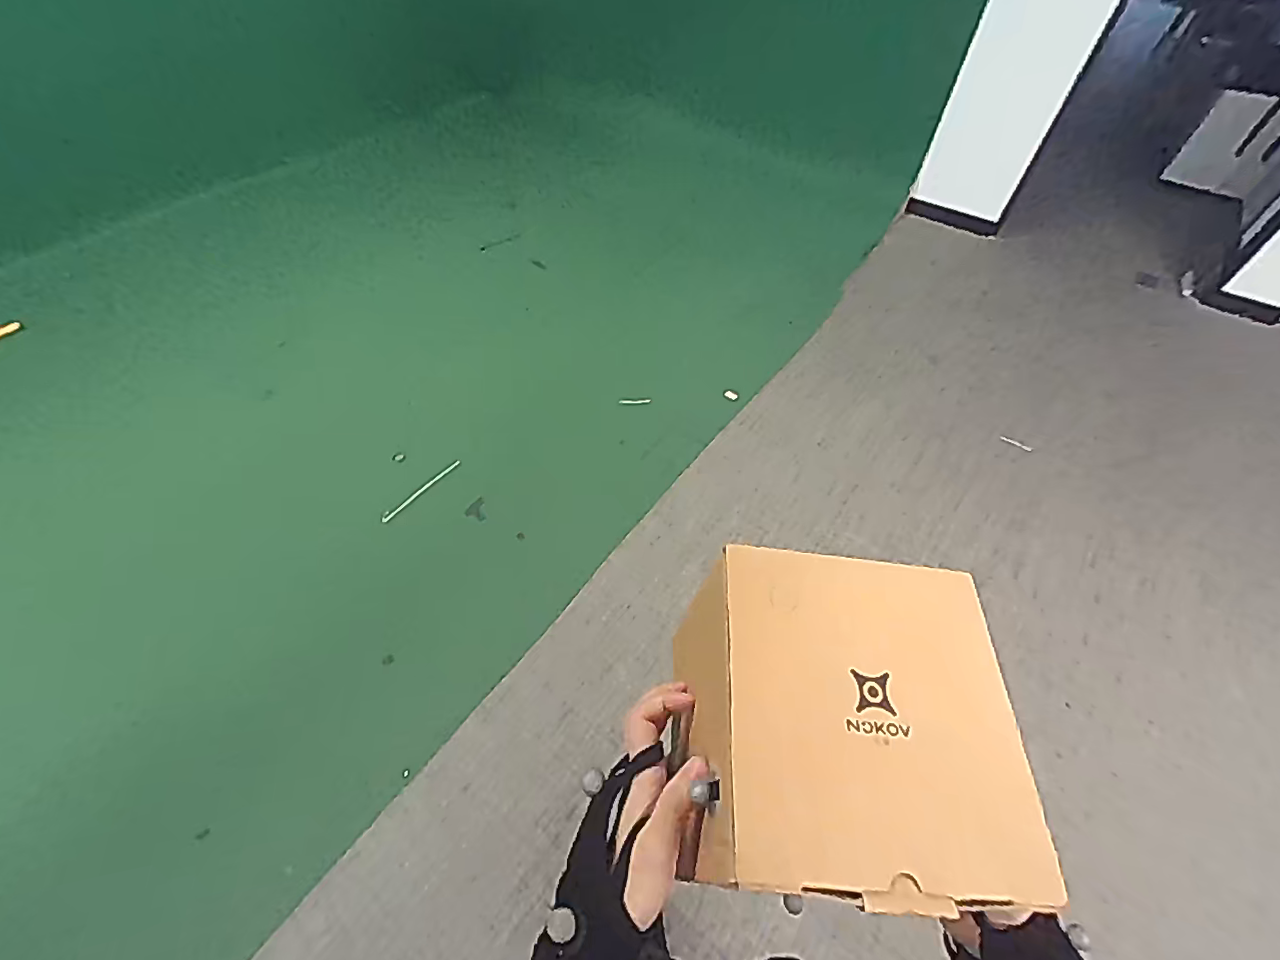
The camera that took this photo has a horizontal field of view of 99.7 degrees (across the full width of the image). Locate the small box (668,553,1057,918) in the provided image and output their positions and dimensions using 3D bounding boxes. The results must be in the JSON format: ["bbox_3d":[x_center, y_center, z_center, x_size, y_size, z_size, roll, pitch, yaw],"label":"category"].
[{"bbox_3d":[0.115,0.172,0.366,0.168,0.176,0.179,7,56,-5],"label":"small box"}]
